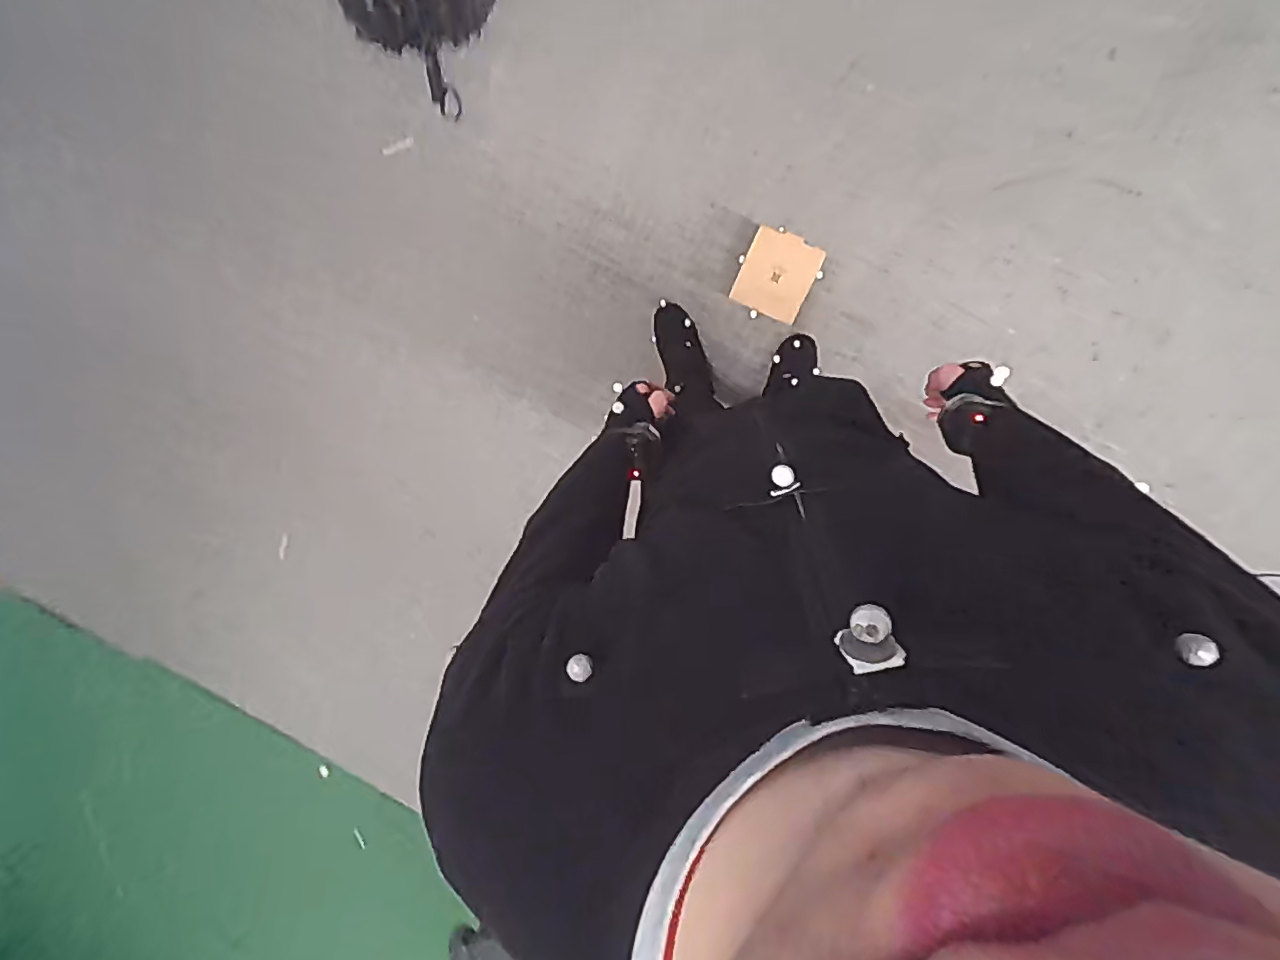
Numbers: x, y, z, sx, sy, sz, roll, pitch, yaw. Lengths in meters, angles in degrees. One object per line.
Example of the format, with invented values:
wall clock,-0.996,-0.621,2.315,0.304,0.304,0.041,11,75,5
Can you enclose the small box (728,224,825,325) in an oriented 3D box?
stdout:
small box,0.330,-0.497,1.321,0.168,0.176,0.179,25,112,5
